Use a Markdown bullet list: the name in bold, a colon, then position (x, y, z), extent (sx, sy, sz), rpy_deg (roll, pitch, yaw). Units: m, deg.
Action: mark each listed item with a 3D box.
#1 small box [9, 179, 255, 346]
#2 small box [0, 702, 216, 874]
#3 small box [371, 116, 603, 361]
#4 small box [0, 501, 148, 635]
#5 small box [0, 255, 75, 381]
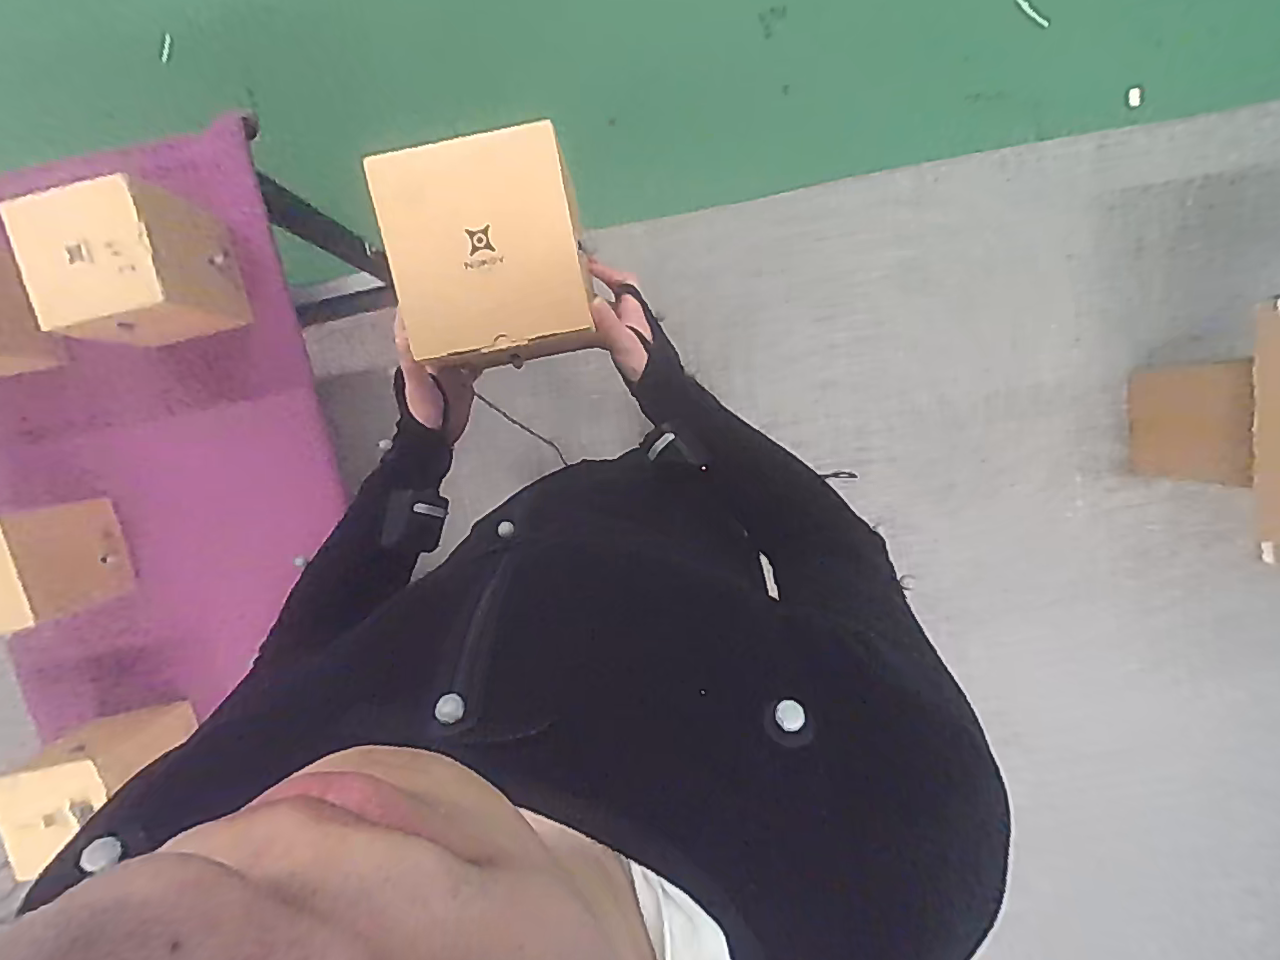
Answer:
- **small box**: position (-0.718, -0.301, 0.786), extent (0.179, 0.176, 0.168), rpy_deg (-13, 97, 2)
- **small box**: position (-0.839, 0.486, 0.879), extent (0.179, 0.176, 0.168), rpy_deg (-12, 96, 3)
- **small box**: position (-0.135, -0.223, 0.547), extent (0.168, 0.176, 0.179), rpy_deg (-11, 102, 1)
- **small box**: position (-0.942, 0.137, 0.844), extent (0.179, 0.176, 0.168), rpy_deg (-12, 97, 1)
- **small box**: position (-1.022, -0.241, 0.802), extent (0.179, 0.176, 0.168), rpy_deg (-10, 97, 2)
